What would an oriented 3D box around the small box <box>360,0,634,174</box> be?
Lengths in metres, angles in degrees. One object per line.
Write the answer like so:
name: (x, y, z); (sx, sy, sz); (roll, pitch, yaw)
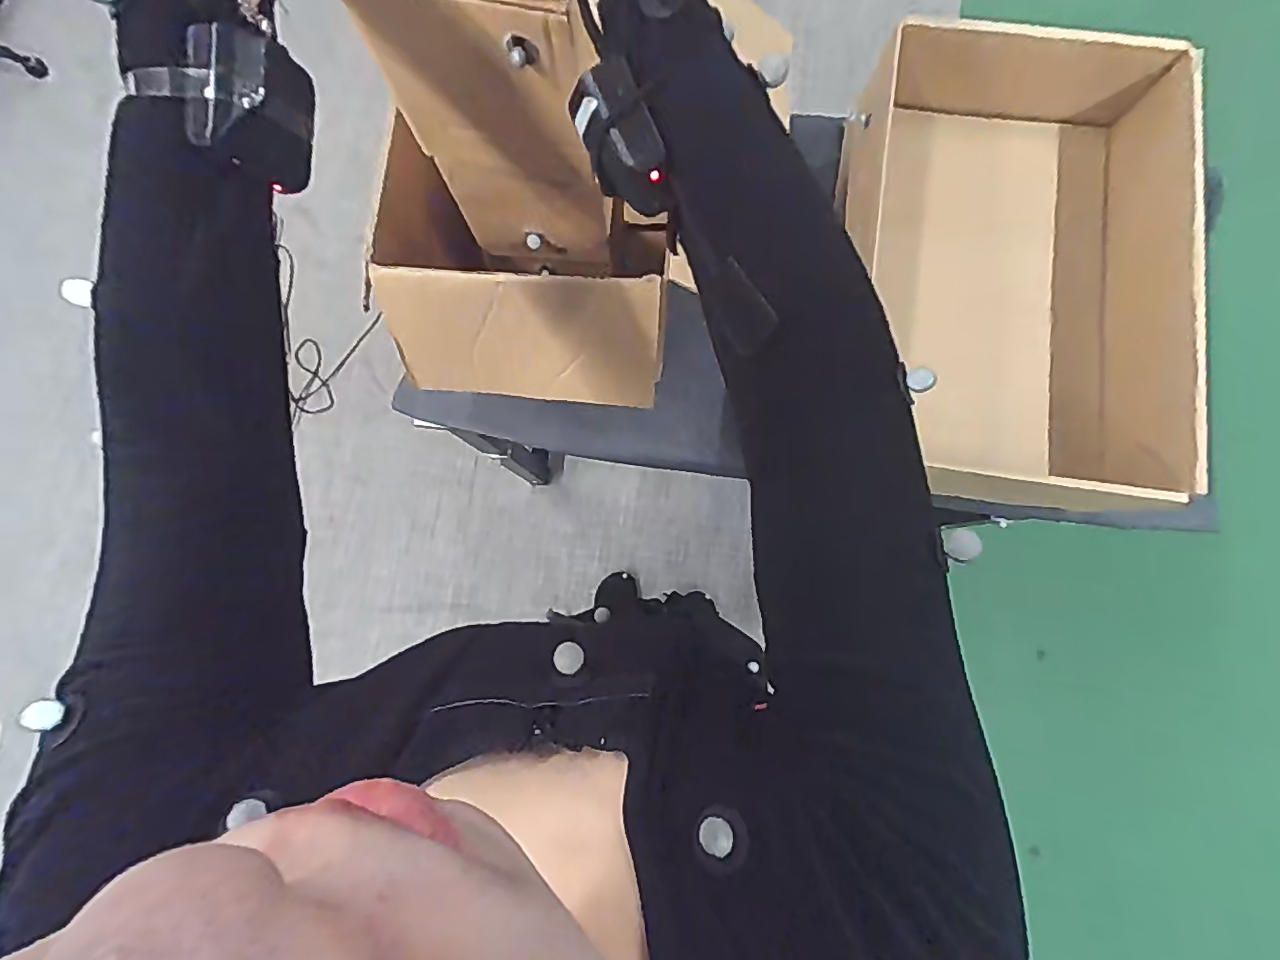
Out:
small box: (-0.107, -0.391, 0.449); (0.179, 0.176, 0.168); (12, 83, 2)
